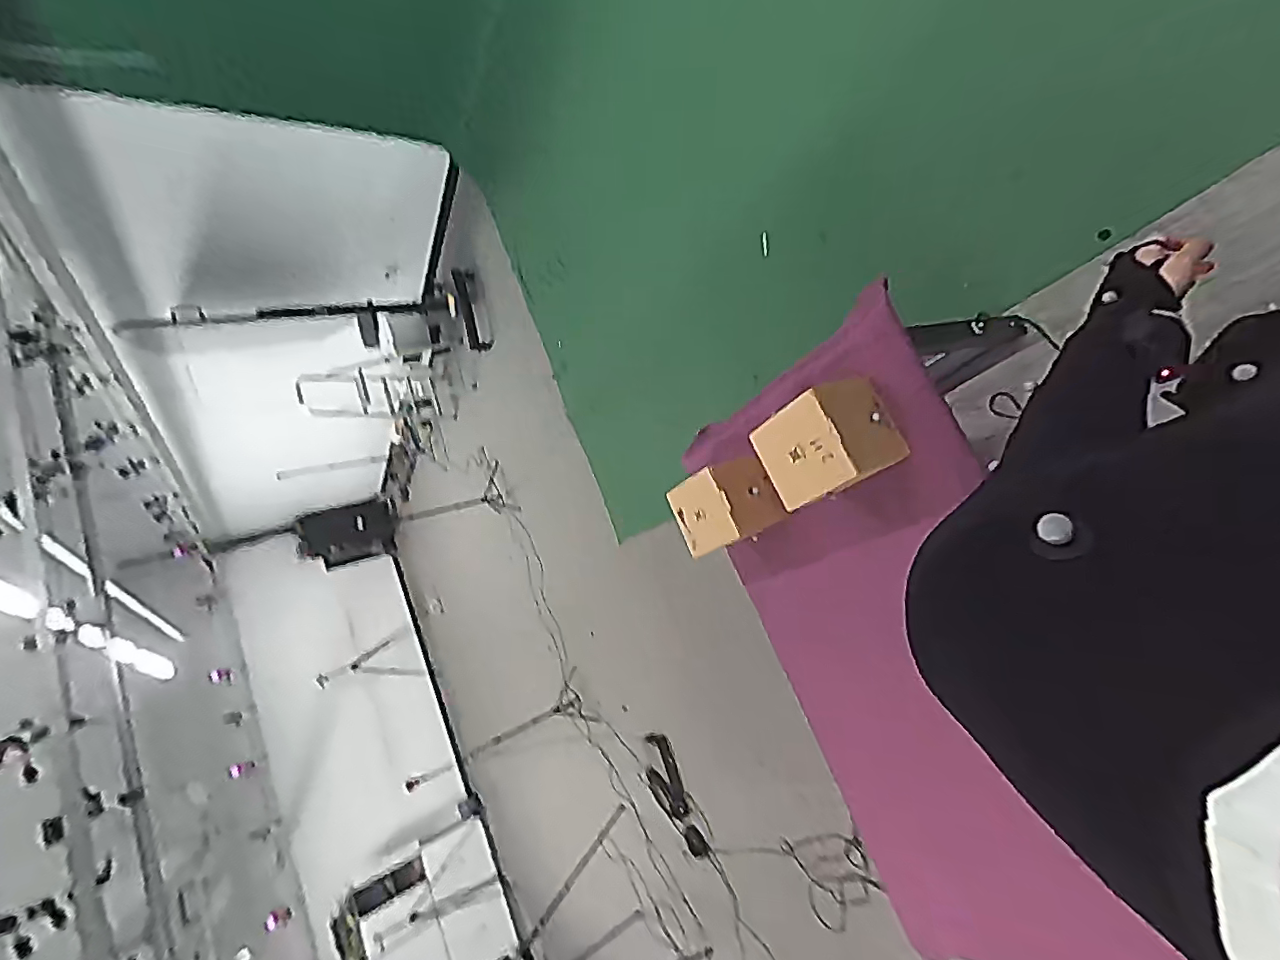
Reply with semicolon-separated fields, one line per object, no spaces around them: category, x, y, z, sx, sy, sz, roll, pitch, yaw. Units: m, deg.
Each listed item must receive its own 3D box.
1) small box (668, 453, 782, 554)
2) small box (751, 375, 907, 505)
small box;0.203;0.051;1.251;0.179;0.176;0.168;-37;72;51
small box;0.347;-0.075;0.999;0.179;0.176;0.168;-41;71;53
